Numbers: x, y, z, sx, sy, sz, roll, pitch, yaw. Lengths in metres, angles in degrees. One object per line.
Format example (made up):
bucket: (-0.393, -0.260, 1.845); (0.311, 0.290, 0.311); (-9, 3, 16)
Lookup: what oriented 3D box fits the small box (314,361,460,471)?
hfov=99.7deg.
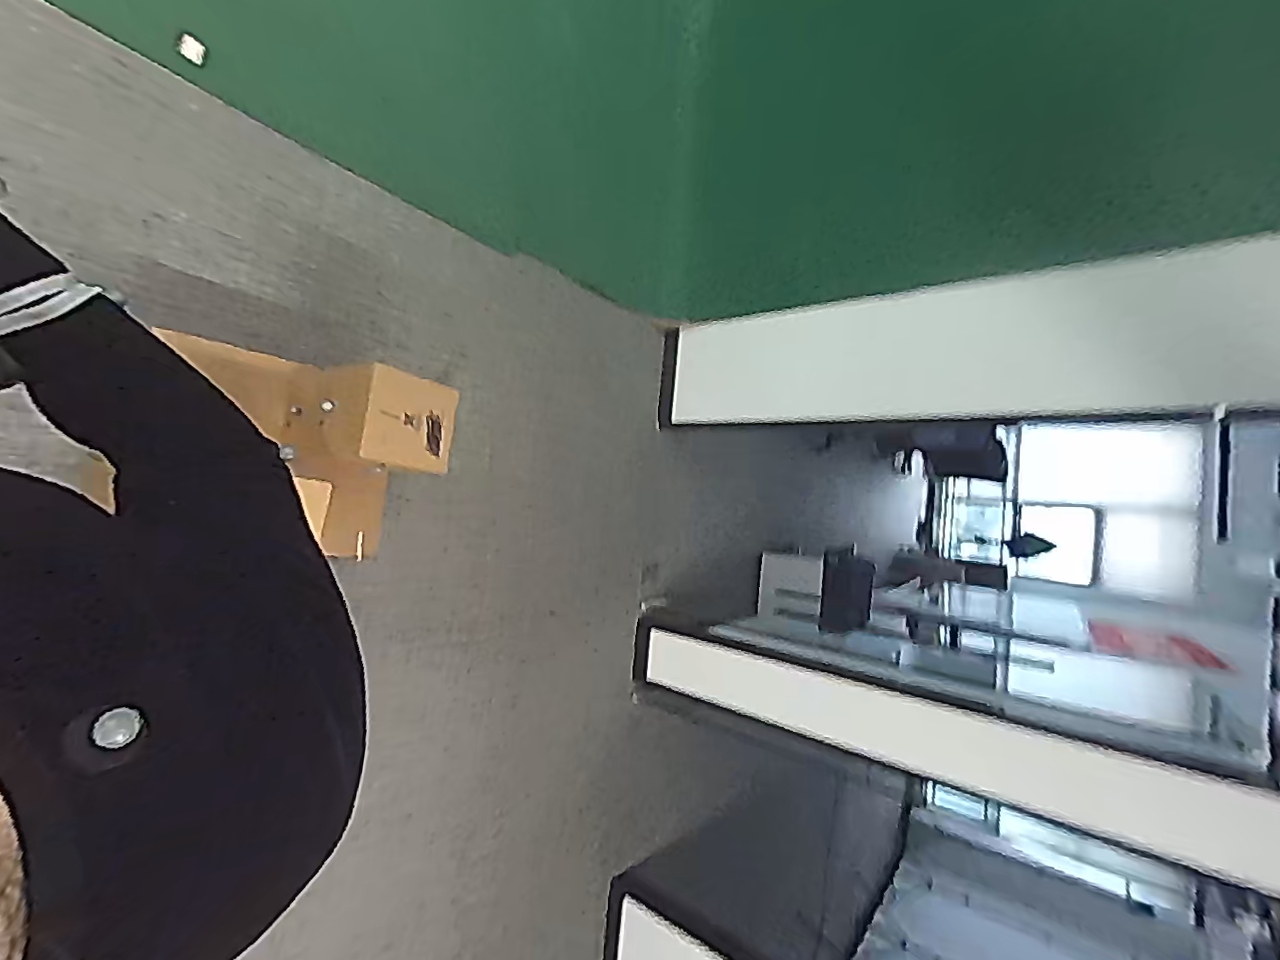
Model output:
small box: (-0.474, -0.116, 1.022); (0.179, 0.176, 0.168); (15, 80, -55)

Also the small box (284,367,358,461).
small box: (-0.601, -0.129, 1.129); (0.179, 0.176, 0.168); (11, 83, -56)
